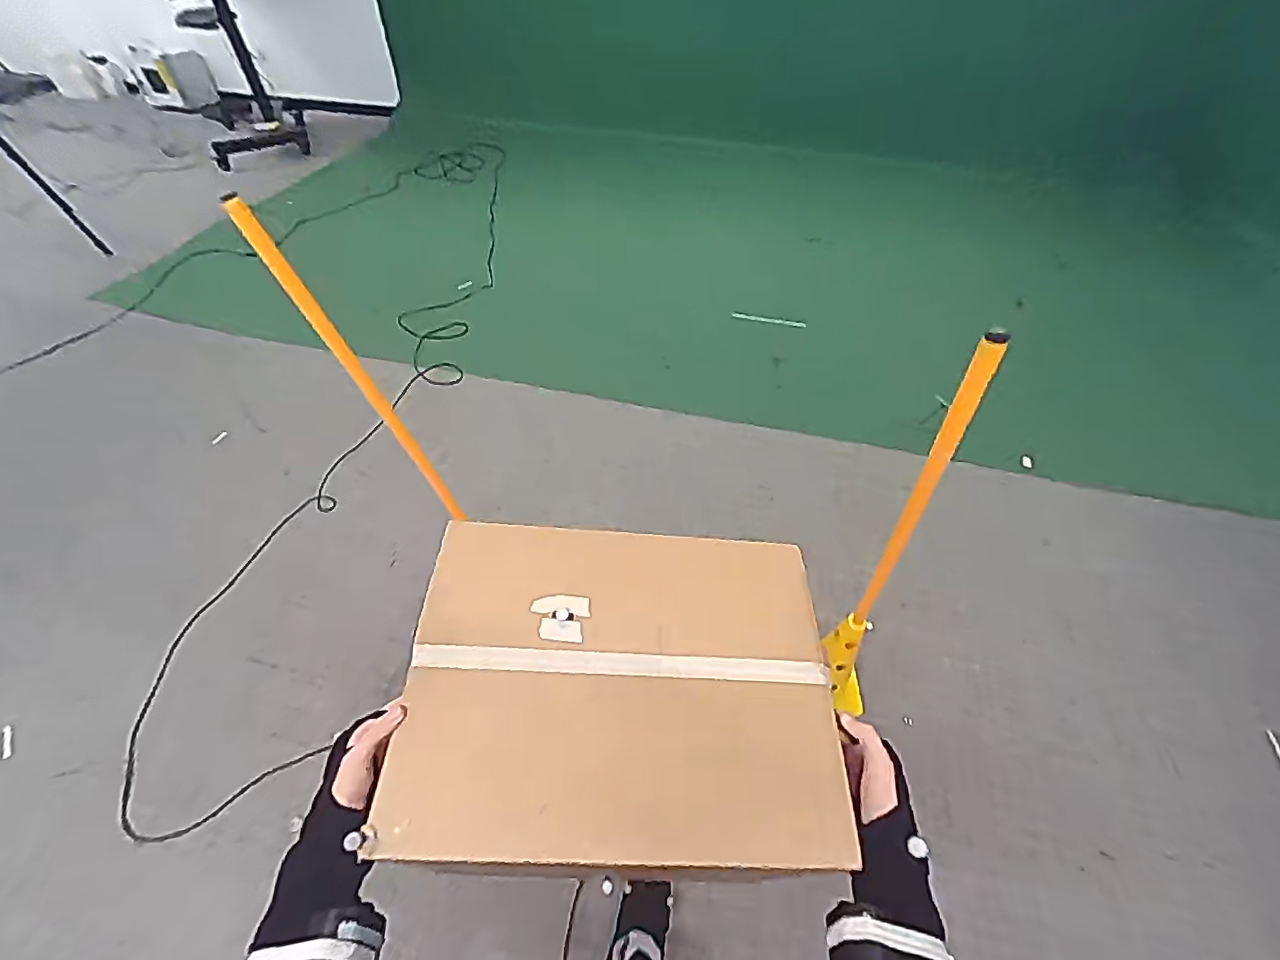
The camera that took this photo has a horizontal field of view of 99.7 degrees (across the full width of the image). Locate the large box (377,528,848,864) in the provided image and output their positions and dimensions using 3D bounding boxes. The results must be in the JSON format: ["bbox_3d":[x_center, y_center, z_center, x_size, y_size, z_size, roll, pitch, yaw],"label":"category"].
[{"bbox_3d":[-0.028,0.276,0.657,0.408,0.320,0.320,4,52,-4],"label":"large box"}]
